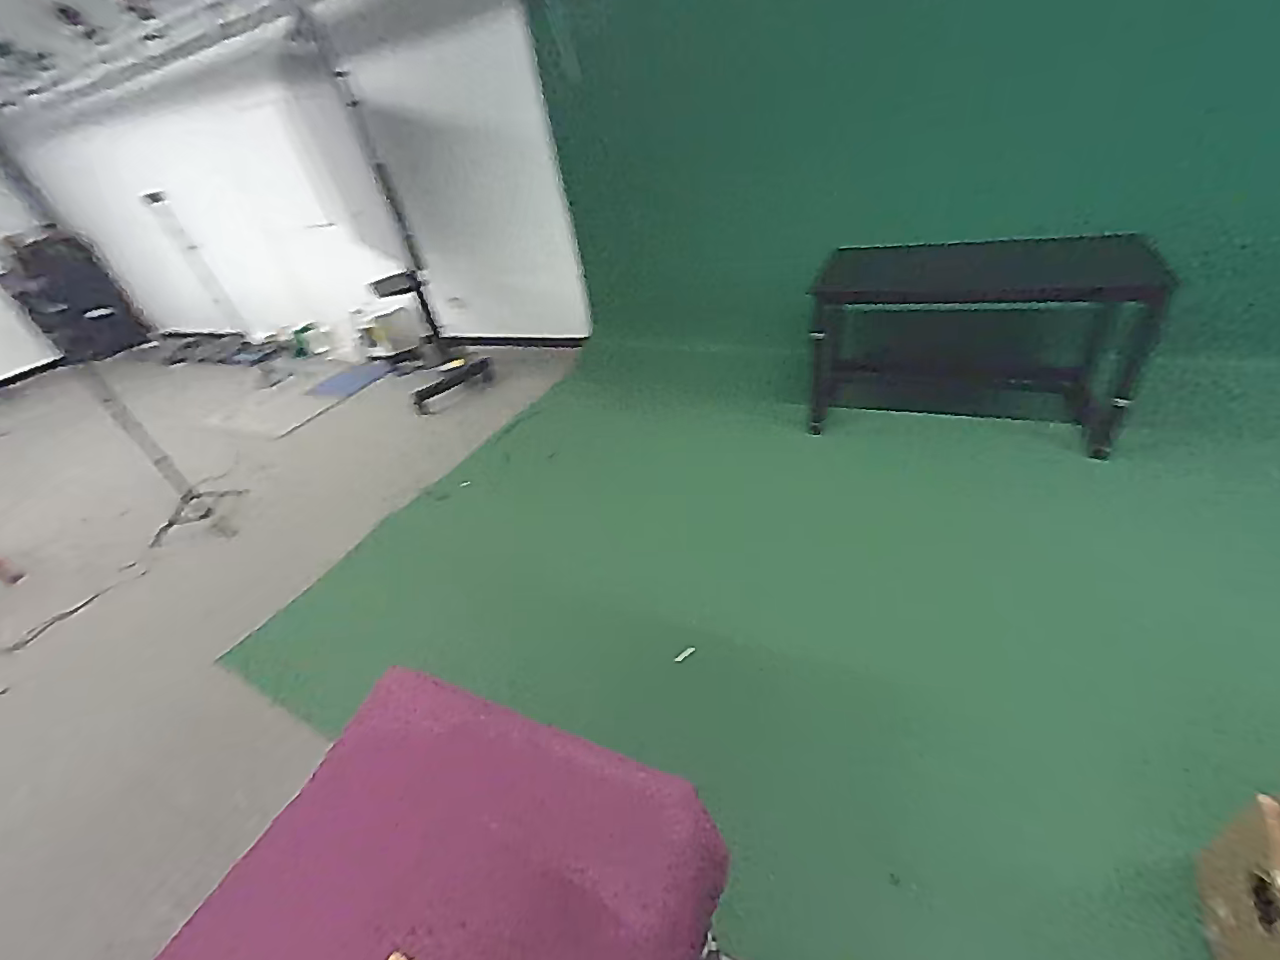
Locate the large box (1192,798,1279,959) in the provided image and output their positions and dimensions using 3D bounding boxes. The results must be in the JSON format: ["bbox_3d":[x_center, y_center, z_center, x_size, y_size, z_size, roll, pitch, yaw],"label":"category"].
[{"bbox_3d":[1.273,0.817,0.891,0.408,0.320,0.320,10,41,27],"label":"large box"}]
